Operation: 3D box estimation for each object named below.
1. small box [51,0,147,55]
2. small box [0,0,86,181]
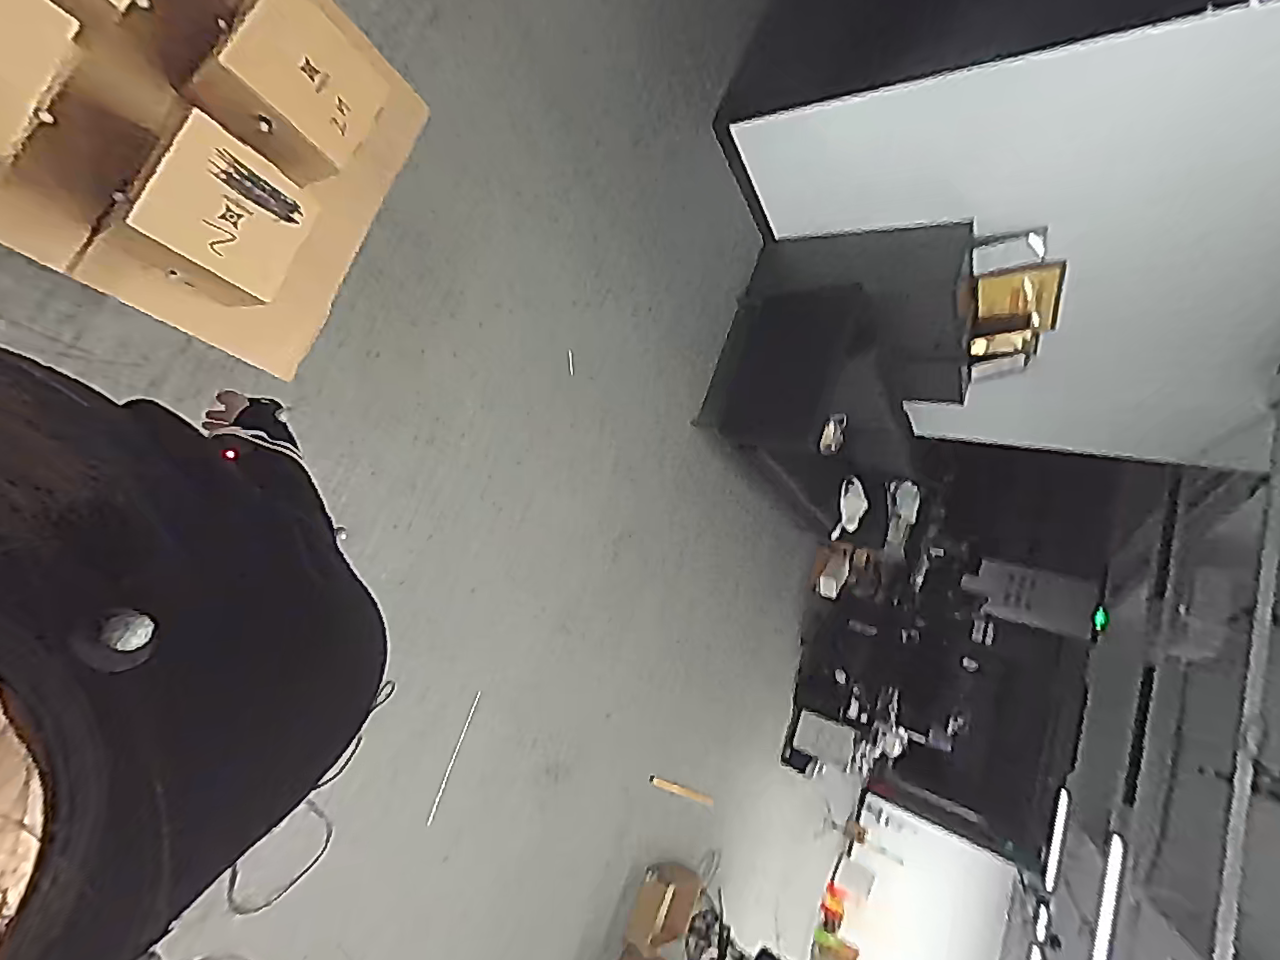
[{"bbox_3d":[-0.649,-0.639,0.606,0.168,0.176,0.179,32,73,-51],"label":"small box"},{"bbox_3d":[-0.728,-0.444,0.556,0.168,0.176,0.179,28,77,-53],"label":"small box"}]
